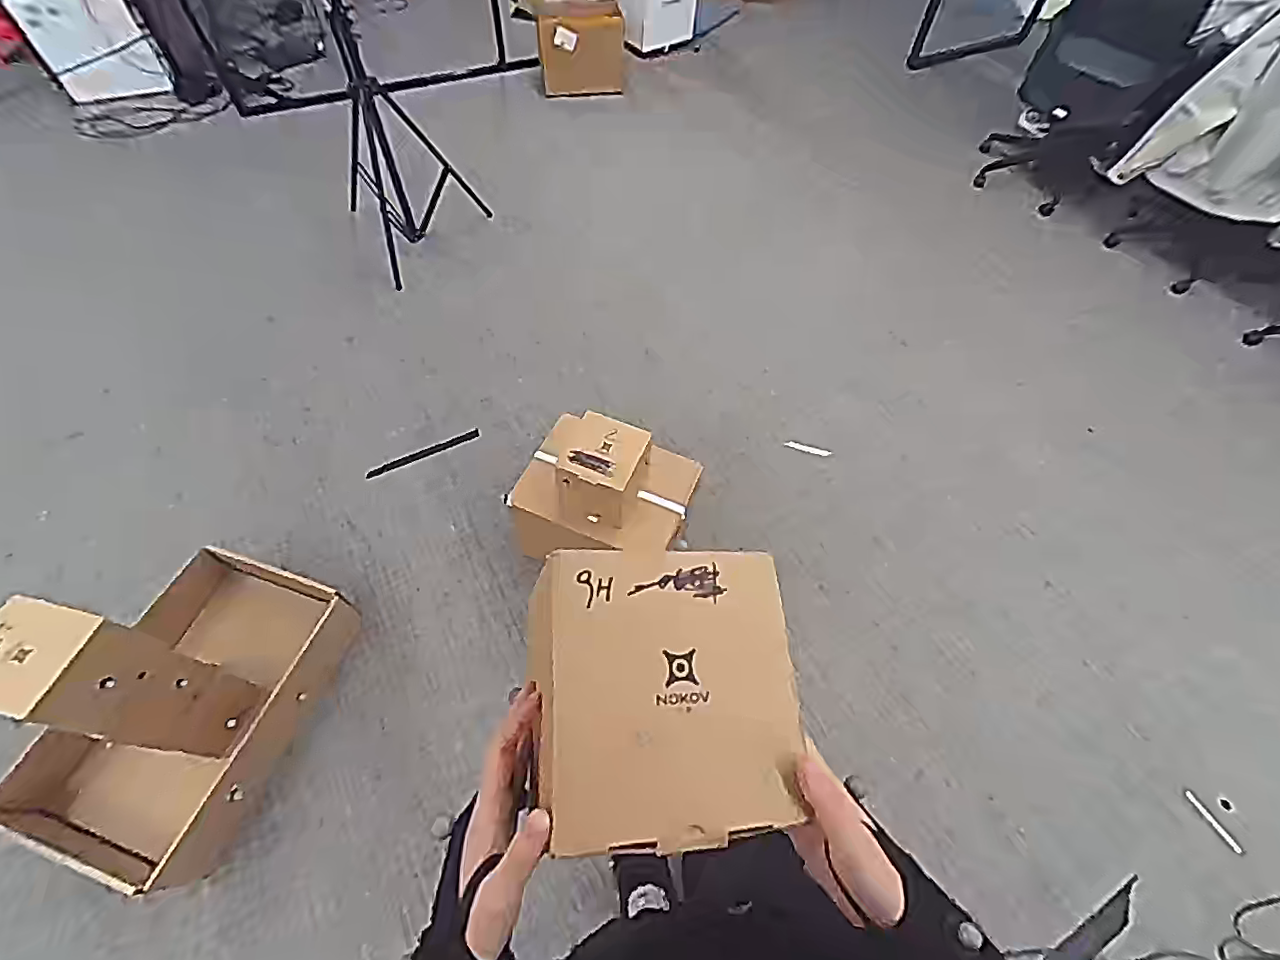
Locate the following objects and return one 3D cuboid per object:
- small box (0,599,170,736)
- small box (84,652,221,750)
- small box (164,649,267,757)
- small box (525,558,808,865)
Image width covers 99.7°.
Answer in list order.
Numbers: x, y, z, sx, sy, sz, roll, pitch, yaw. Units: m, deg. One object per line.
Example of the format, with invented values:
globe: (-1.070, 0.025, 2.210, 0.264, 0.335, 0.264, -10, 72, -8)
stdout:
small box: (-0.986, 0.328, 0.933, 0.179, 0.176, 0.168, 13, 56, 5)
small box: (-0.996, 0.421, 1.069, 0.179, 0.176, 0.168, 12, 57, 6)
small box: (-0.999, 0.504, 1.209, 0.179, 0.176, 0.168, 17, 59, 7)
small box: (0.002, 0.165, 0.420, 0.168, 0.176, 0.179, 2, 67, -16)
